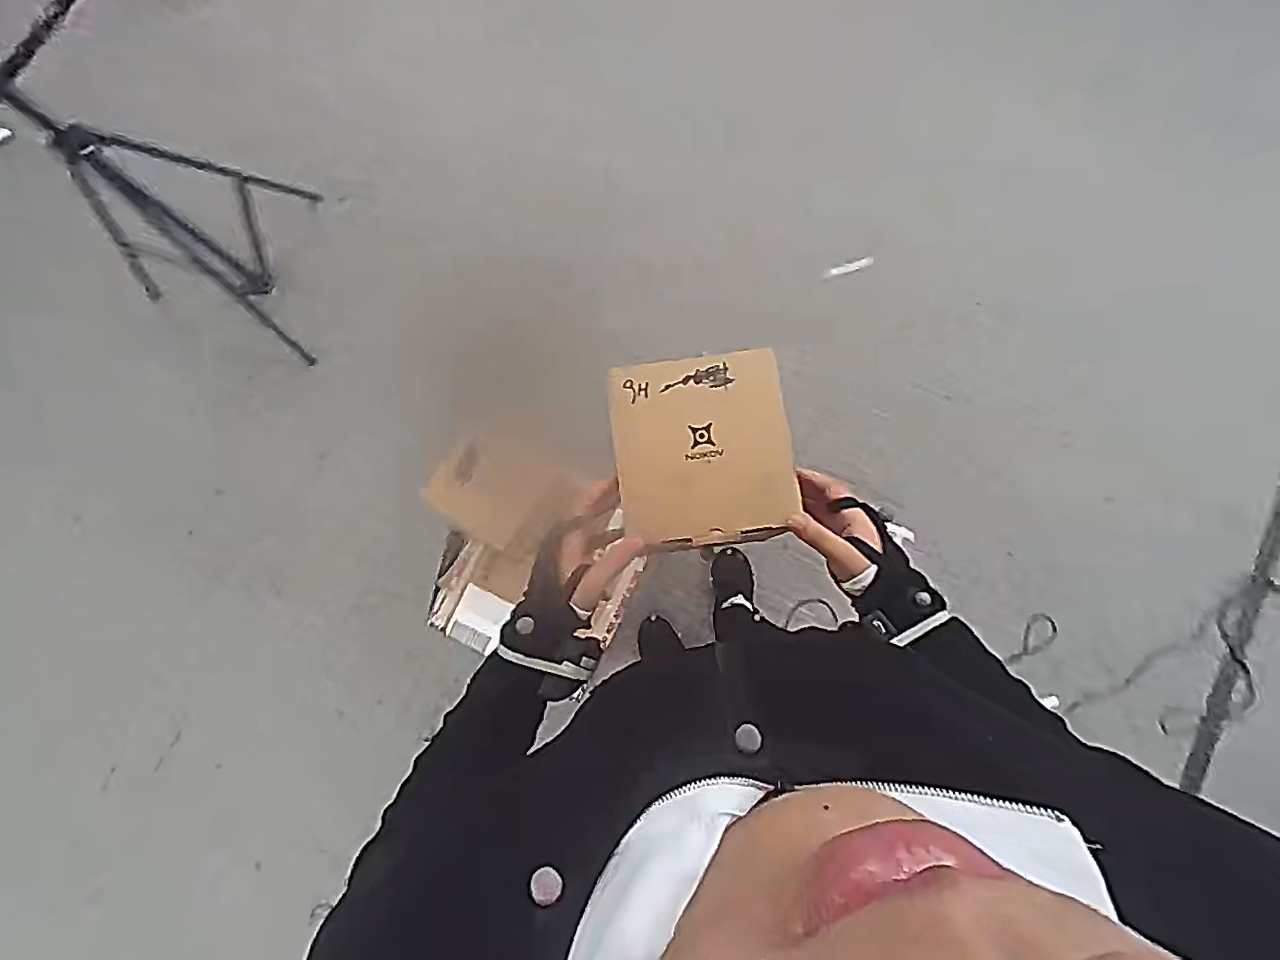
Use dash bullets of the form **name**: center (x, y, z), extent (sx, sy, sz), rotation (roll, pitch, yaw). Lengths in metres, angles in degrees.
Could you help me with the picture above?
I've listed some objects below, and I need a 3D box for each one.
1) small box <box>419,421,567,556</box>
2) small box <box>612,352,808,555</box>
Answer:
- **small box**: center (-0.253, 0.025, 0.977), extent (0.179, 0.176, 0.168), rotation (32, 80, 6)
- **small box**: center (0.065, -0.016, 0.577), extent (0.168, 0.176, 0.179), rotation (-7, 81, 0)
